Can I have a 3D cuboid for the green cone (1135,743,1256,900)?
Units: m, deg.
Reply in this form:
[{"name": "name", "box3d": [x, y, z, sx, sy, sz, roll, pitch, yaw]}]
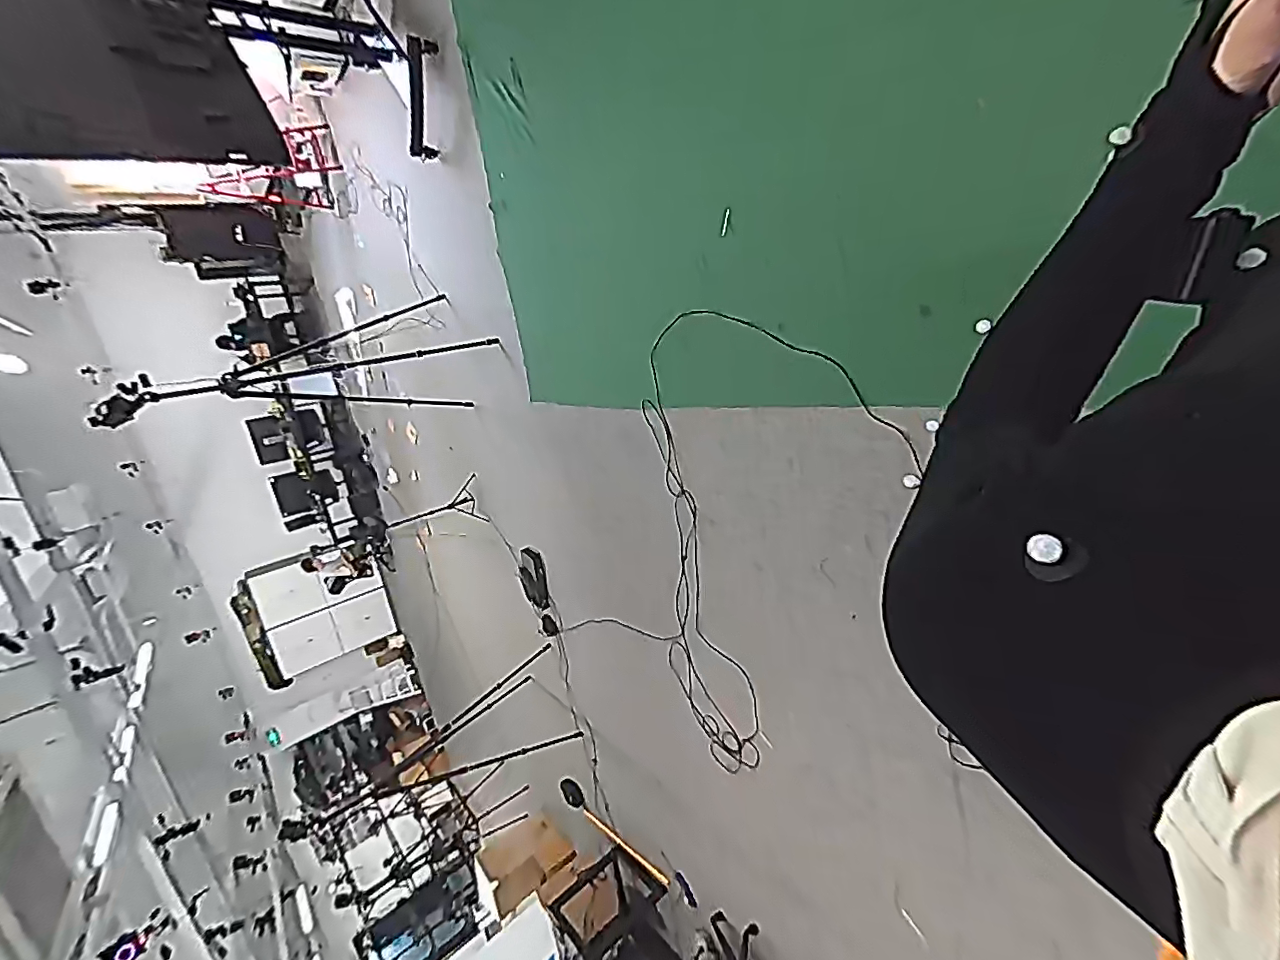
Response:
[{"name": "green cone", "box3d": [1.243, 0.821, 1.246, 0.202, 0.368, 0.200, 11, 114, 50]}]
